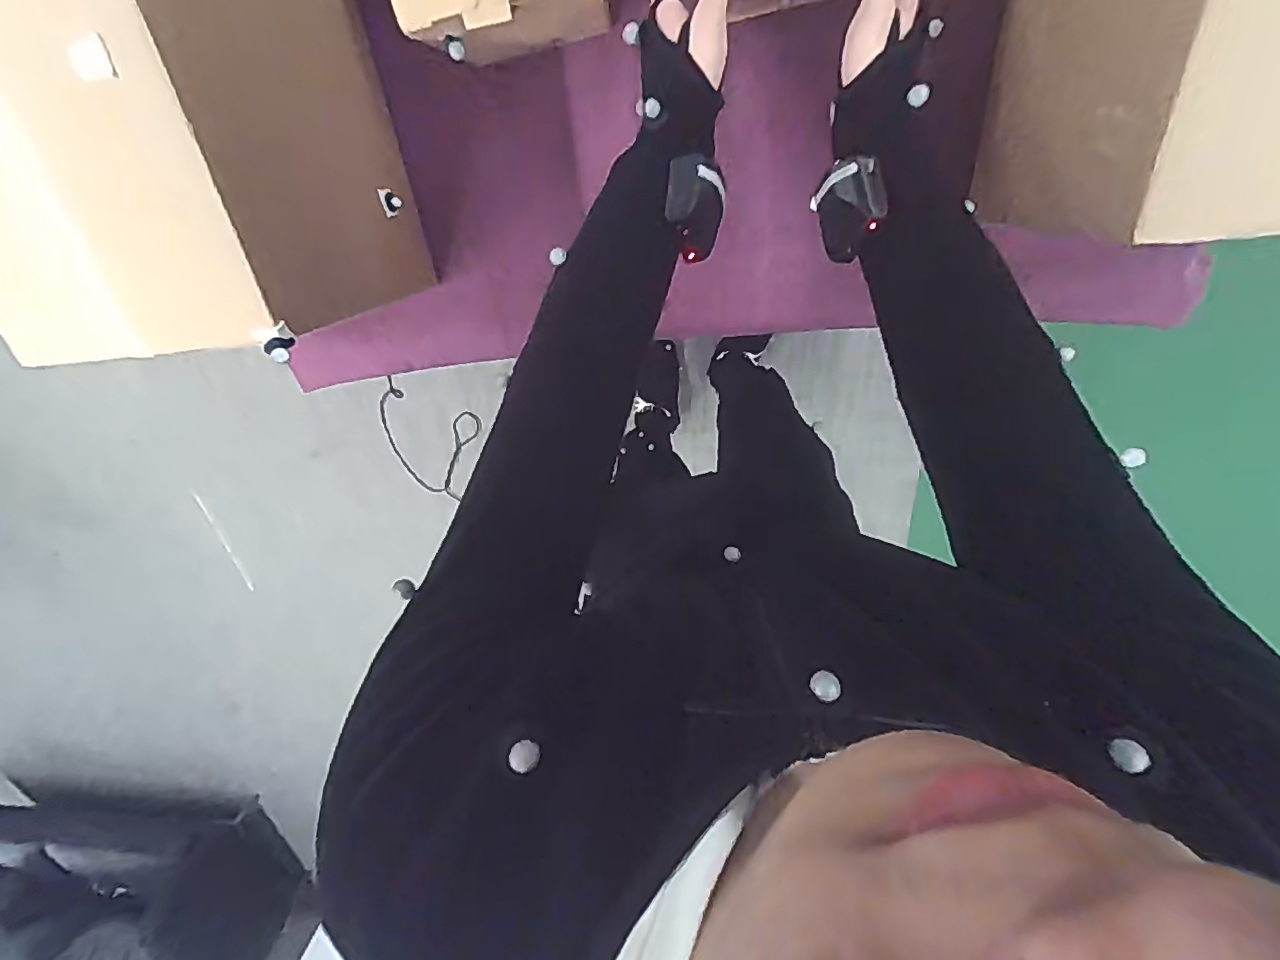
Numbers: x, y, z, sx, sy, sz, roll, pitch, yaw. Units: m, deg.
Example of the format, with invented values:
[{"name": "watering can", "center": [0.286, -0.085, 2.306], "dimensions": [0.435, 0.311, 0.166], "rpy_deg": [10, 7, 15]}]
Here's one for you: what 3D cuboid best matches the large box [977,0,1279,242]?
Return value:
[{"name": "large box", "center": [0.487, -0.411, 0.372], "dimensions": [0.320, 0.320, 0.408], "rpy_deg": [0, 119, 11]}]
